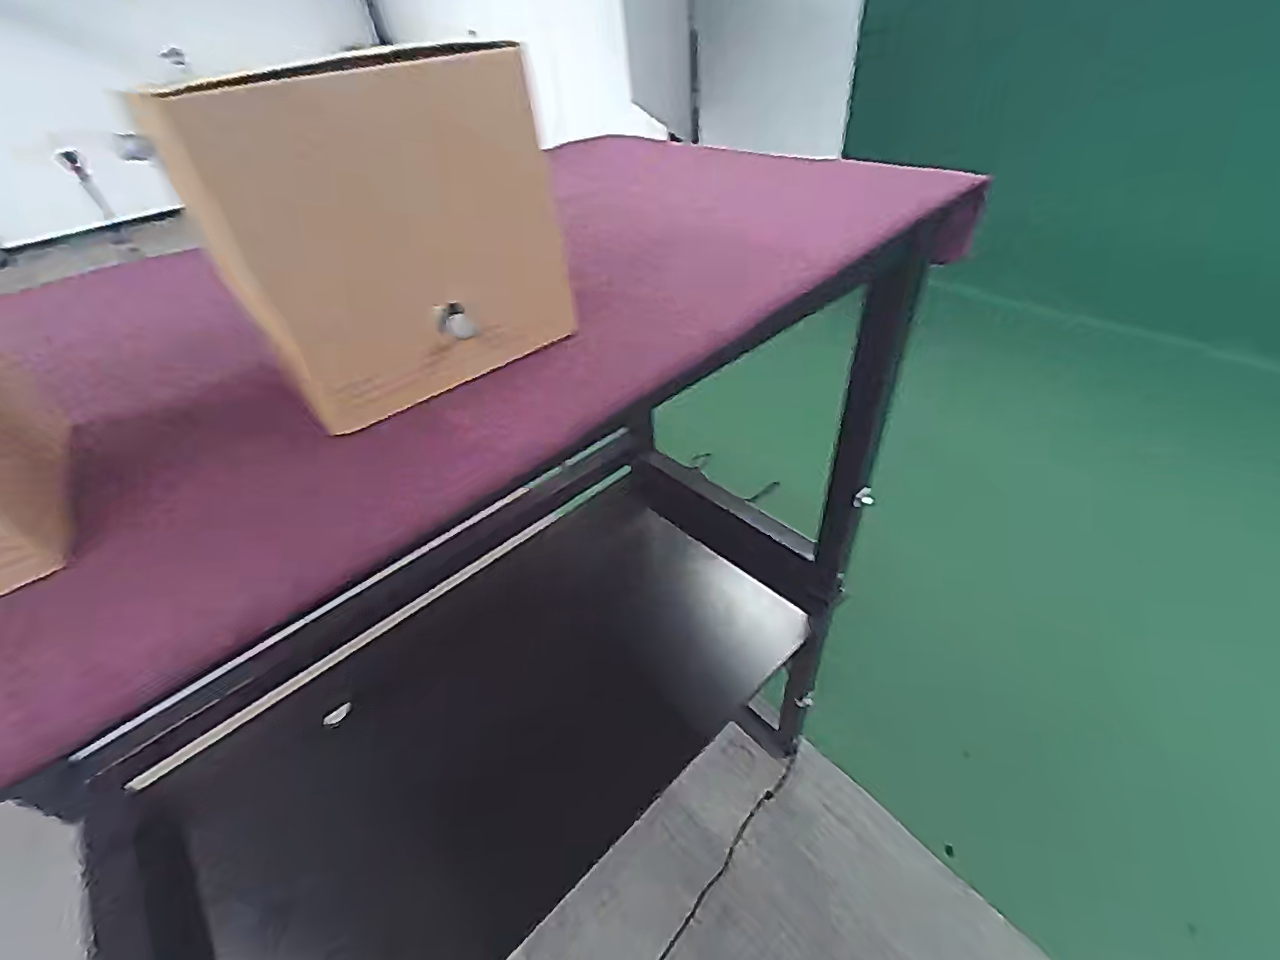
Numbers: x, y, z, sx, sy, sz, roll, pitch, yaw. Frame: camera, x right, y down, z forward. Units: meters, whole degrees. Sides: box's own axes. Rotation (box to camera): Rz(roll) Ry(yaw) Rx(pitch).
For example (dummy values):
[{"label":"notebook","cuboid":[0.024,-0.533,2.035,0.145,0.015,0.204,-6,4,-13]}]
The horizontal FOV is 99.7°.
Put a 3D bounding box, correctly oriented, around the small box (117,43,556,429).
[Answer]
[{"label":"small box","cuboid":[-0.170,-0.161,0.345,0.179,0.176,0.168,-33,46,-27]}]
